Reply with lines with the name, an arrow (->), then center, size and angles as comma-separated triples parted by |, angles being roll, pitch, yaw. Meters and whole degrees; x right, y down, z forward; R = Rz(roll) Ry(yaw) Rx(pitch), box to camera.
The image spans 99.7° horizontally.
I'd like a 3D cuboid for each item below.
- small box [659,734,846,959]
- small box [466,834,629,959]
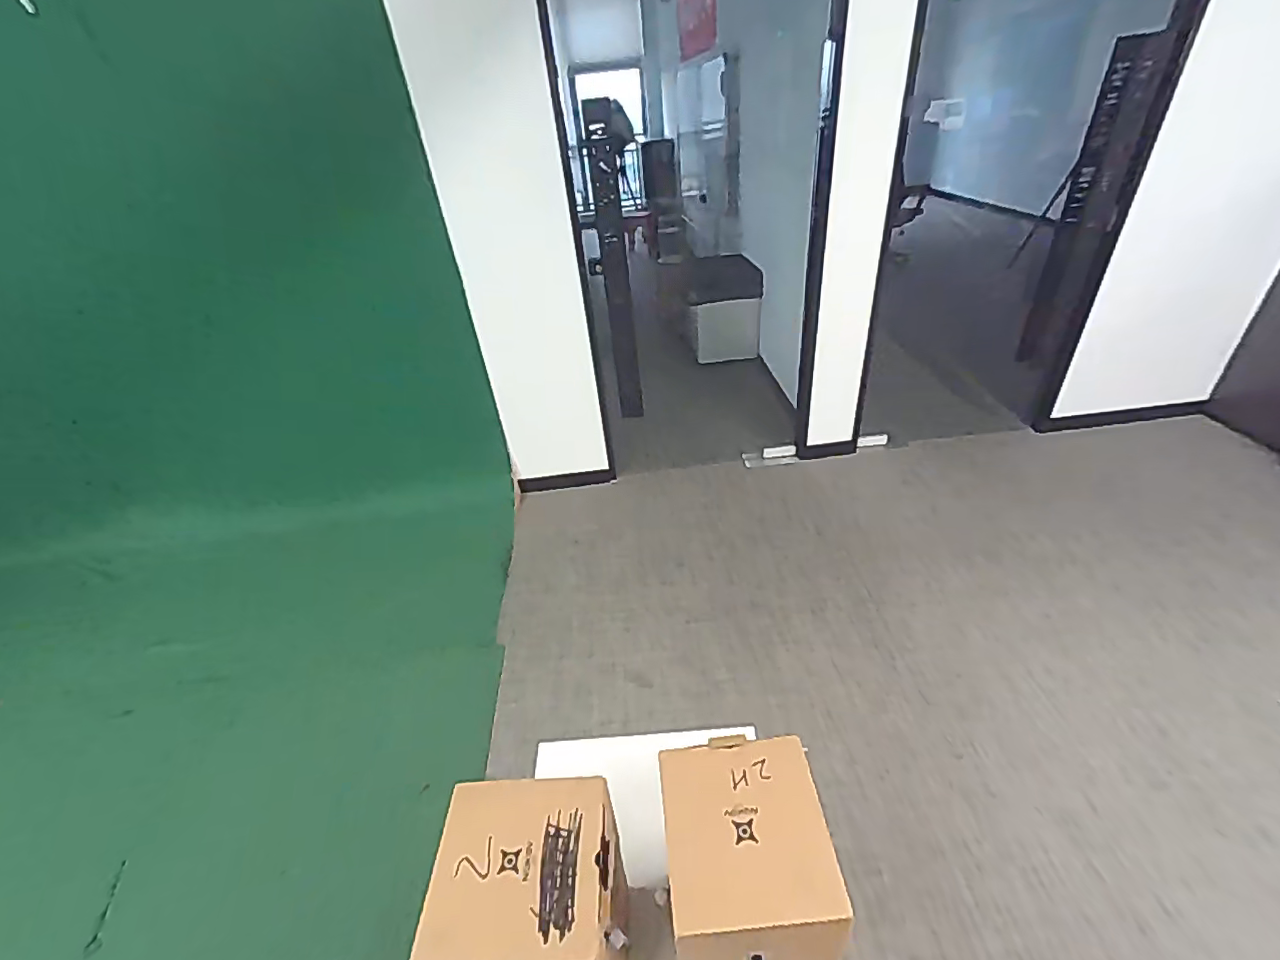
small box -> 0.115, 0.421, 0.609 | 0.168, 0.176, 0.179 | -6, 35, 1
small box -> -0.109, 0.586, 0.697 | 0.179, 0.176, 0.168 | -3, 35, 1
